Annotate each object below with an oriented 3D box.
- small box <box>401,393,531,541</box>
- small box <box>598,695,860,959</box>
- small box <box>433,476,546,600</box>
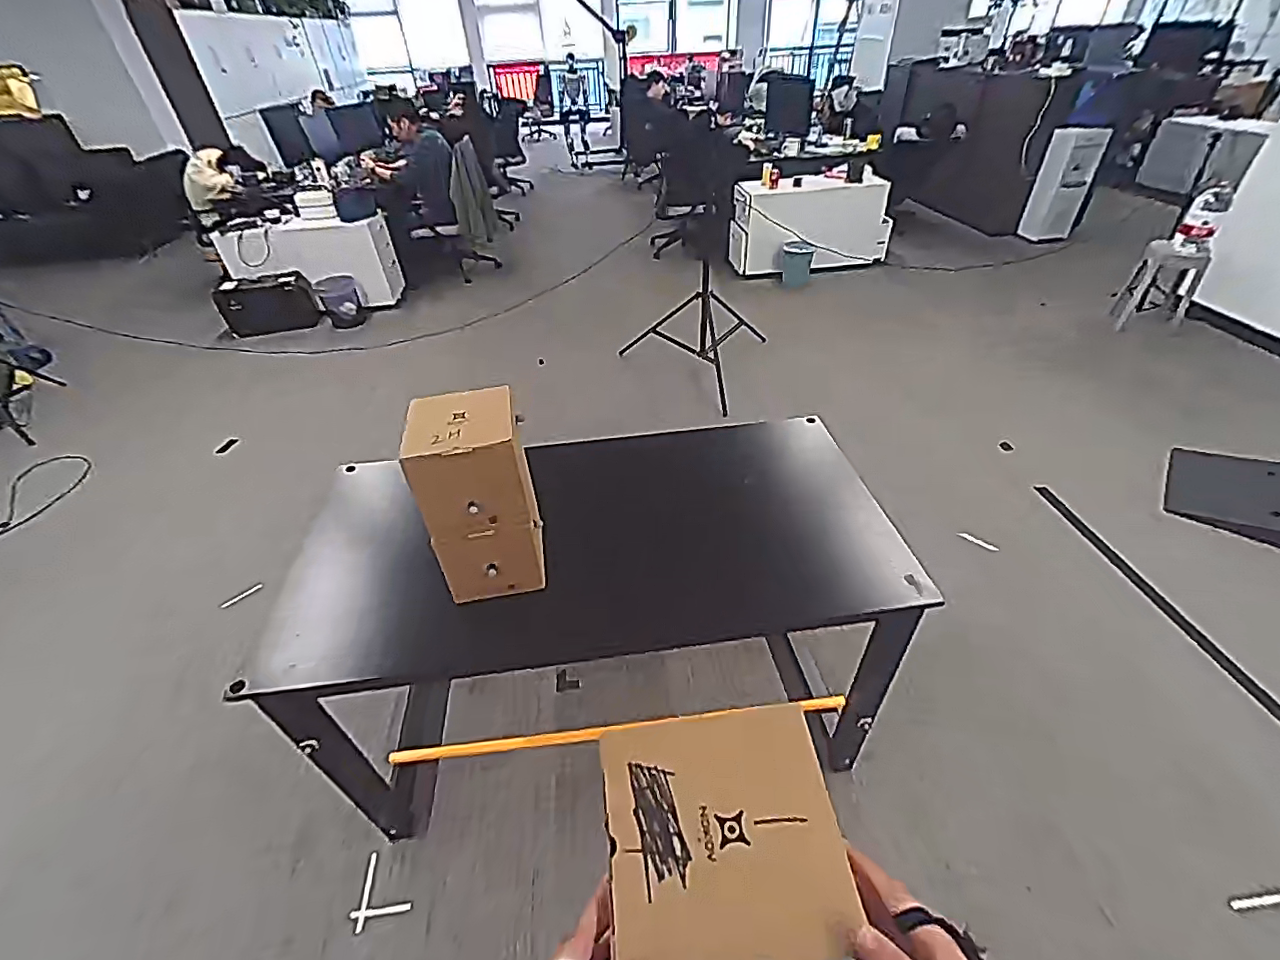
[{"bbox_3d":[-0.283,-0.025,0.914,0.168,0.176,0.179,-10,40,-7],"label":"small box"},{"bbox_3d":[0.065,0.313,0.477,0.179,0.176,0.168,-8,48,-1],"label":"small box"},{"bbox_3d":[-0.275,0.107,1.016,0.168,0.176,0.179,-9,40,-7],"label":"small box"}]
